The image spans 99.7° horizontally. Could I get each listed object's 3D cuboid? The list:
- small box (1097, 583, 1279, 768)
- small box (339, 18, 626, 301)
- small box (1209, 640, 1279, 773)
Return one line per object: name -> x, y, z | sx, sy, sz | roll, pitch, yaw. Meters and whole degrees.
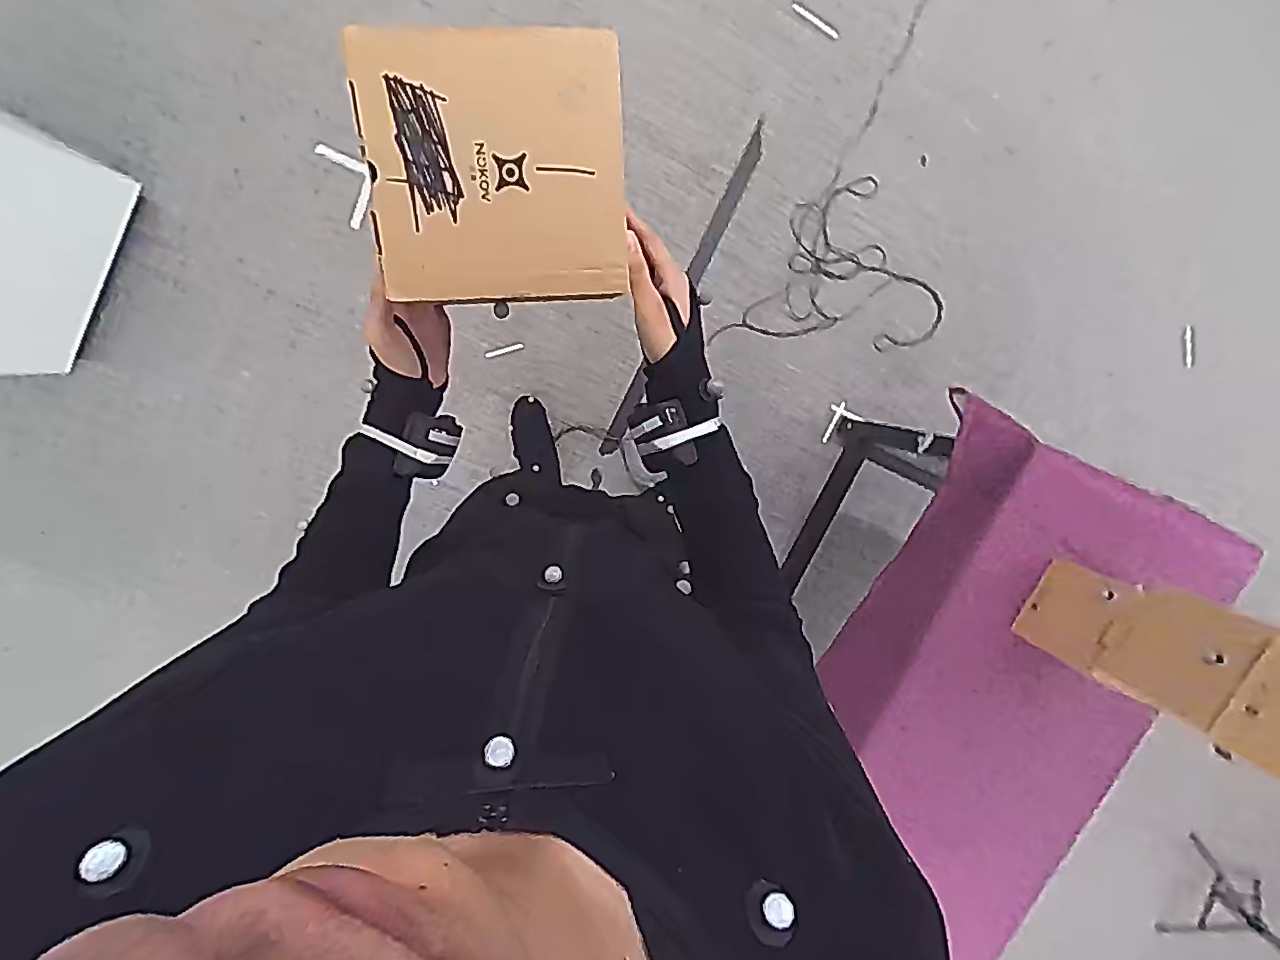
small box -> 0.870, 0.286, 0.828 | 0.168, 0.176, 0.179 | 32, 96, -13
small box -> -0.110, -0.238, 0.444 | 0.179, 0.176, 0.168 | -6, 108, -7
small box -> 0.888, 0.319, 0.670 | 0.179, 0.176, 0.168 | 25, 98, -13
